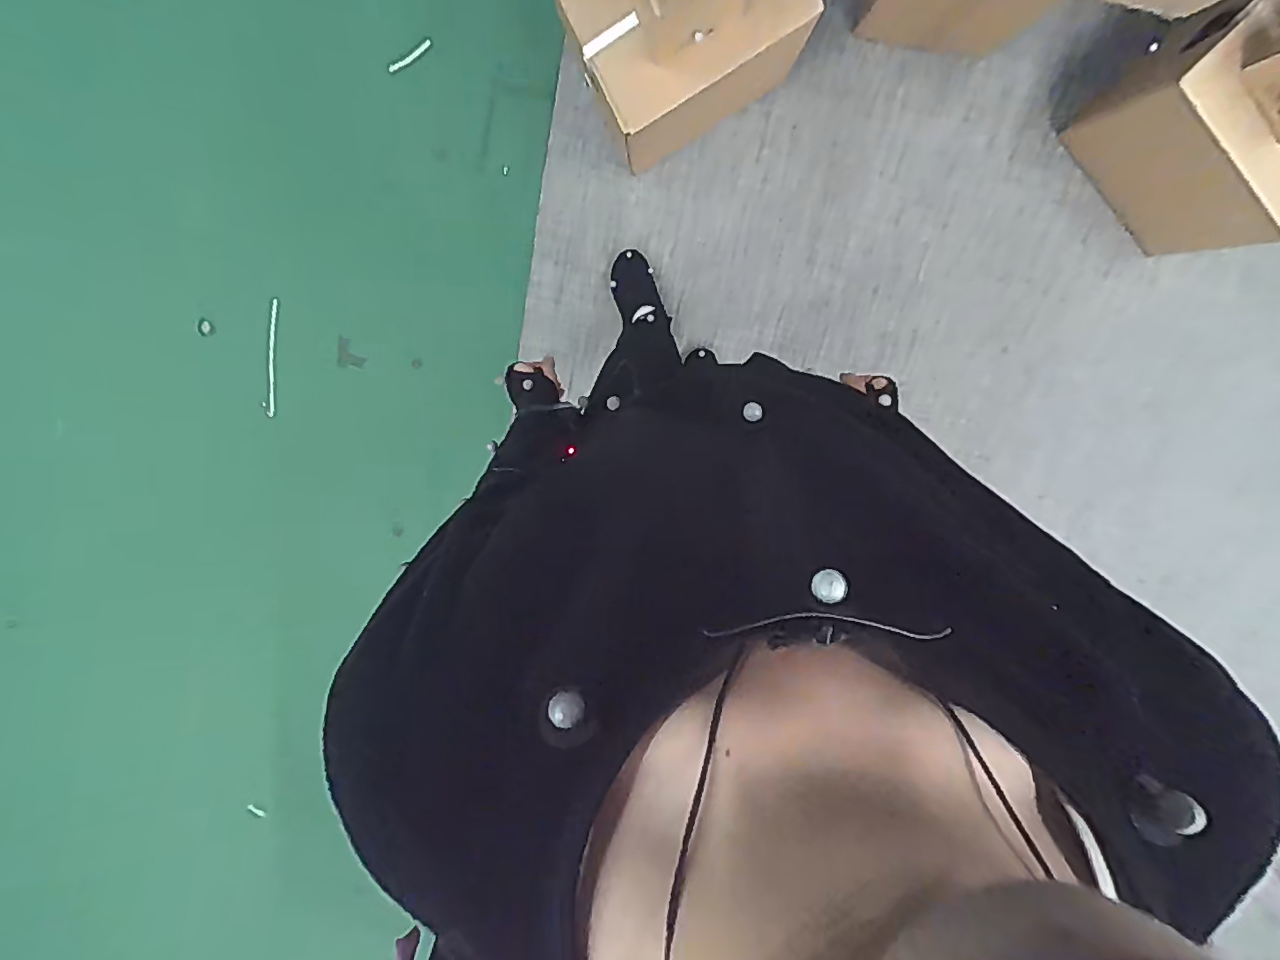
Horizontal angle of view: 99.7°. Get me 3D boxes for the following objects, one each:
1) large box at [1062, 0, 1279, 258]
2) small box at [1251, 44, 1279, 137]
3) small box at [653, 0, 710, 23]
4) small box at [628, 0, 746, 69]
[{"bbox_3d":[1.220,-0.734,1.120,0.408,0.320,0.320,41,103,-11],"label":"large box"},{"bbox_3d":[1.189,-0.700,0.877,0.179,0.176,0.168,-42,101,11],"label":"small box"},{"bbox_3d":[0.067,-0.774,0.714,0.168,0.176,0.179,-27,104,10],"label":"small box"},{"bbox_3d":[0.065,-0.822,0.870,0.168,0.176,0.179,-24,105,8],"label":"small box"}]
